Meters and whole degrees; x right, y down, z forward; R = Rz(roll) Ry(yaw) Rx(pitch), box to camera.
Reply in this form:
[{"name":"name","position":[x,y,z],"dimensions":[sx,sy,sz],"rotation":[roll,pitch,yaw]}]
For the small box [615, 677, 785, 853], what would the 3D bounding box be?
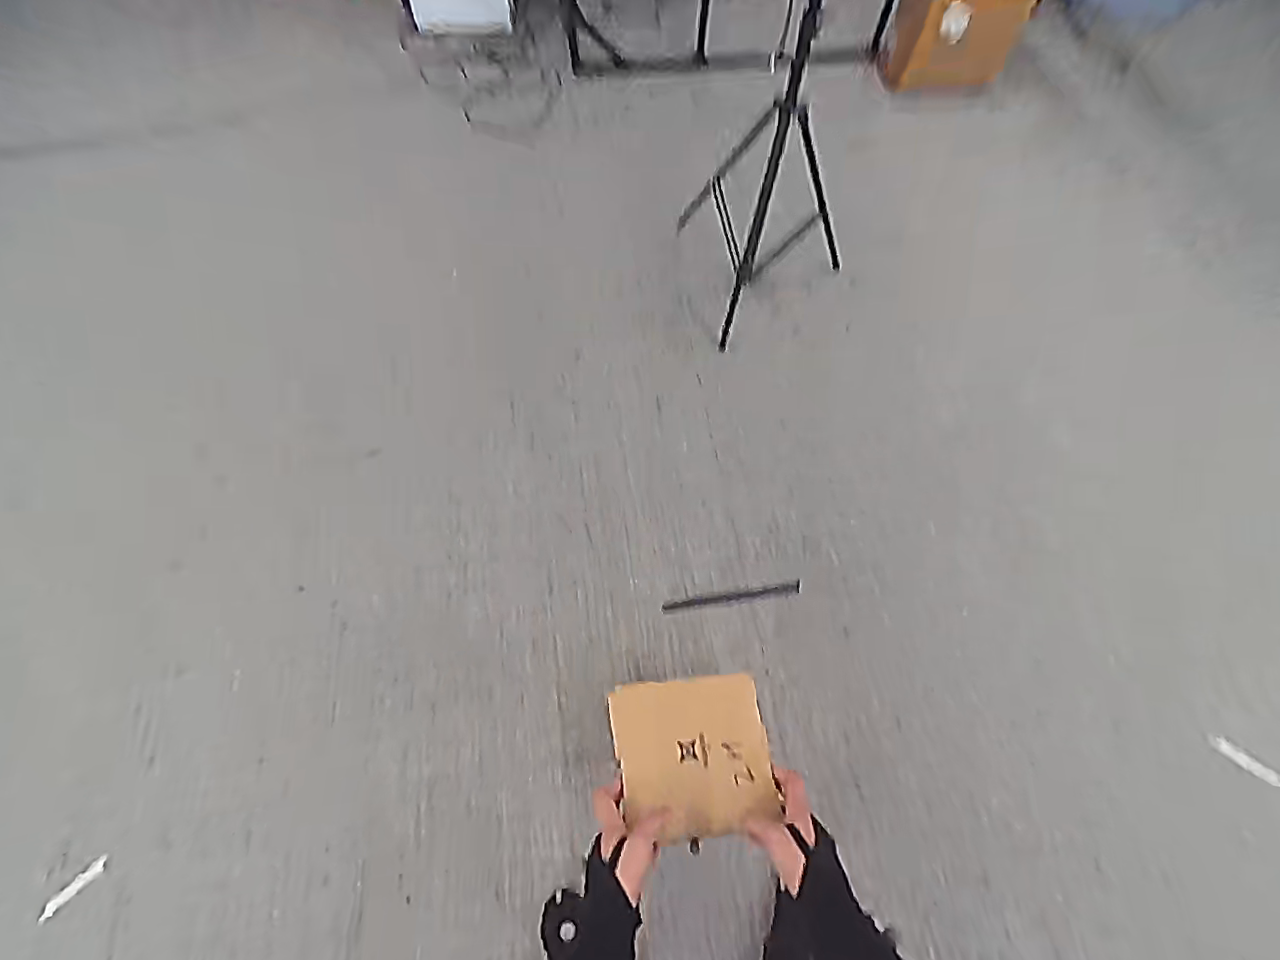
[{"name":"small box","position":[0.063,0.361,0.680],"dimensions":[0.179,0.176,0.168],"rotation":[-4,55,-4]}]
